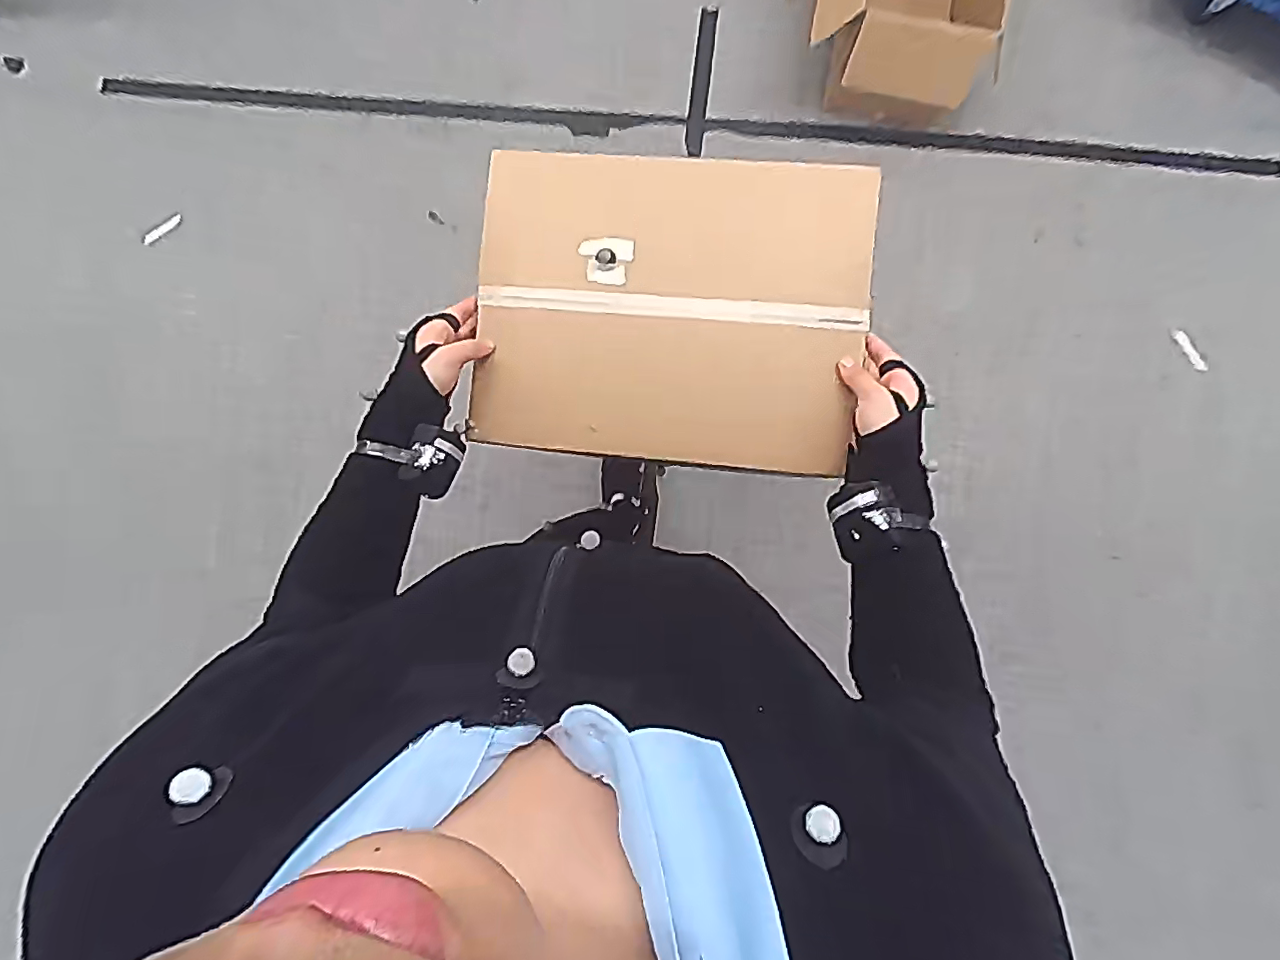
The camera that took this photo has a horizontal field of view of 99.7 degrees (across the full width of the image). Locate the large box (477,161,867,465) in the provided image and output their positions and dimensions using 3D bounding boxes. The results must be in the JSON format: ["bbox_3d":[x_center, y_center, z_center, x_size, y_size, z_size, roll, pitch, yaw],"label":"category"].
[{"bbox_3d":[0.044,-0.185,0.723,0.408,0.320,0.320,5,90,6],"label":"large box"}]
